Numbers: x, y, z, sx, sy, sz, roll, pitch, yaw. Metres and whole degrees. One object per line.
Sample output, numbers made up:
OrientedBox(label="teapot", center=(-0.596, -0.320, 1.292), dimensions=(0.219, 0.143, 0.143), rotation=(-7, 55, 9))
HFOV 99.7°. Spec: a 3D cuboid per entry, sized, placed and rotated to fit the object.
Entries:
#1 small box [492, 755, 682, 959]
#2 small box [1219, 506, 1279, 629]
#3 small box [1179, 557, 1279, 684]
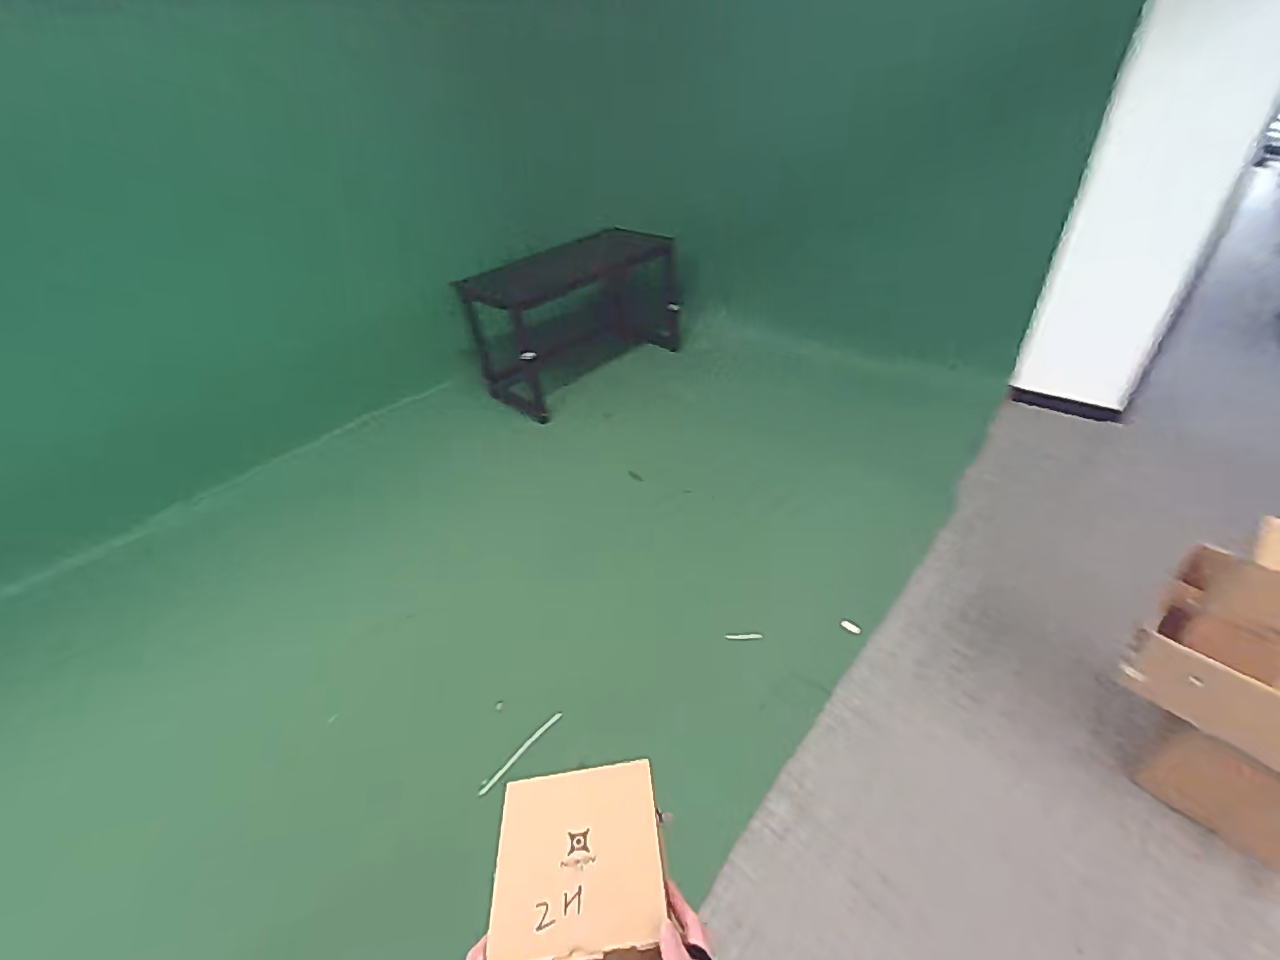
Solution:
OrientedBox(label="small box", center=(-0.048, 0.442, 0.596), dimensions=(0.168, 0.176, 0.179), rotation=(-9, 30, 1))
OrientedBox(label="small box", center=(1.338, 0.191, 1.097), dimensions=(0.179, 0.176, 0.168), rotation=(-36, 45, -29))
OrientedBox(label="small box", center=(1.359, 0.313, 1.204), dimensions=(0.179, 0.176, 0.168), rotation=(-34, 45, -28))
